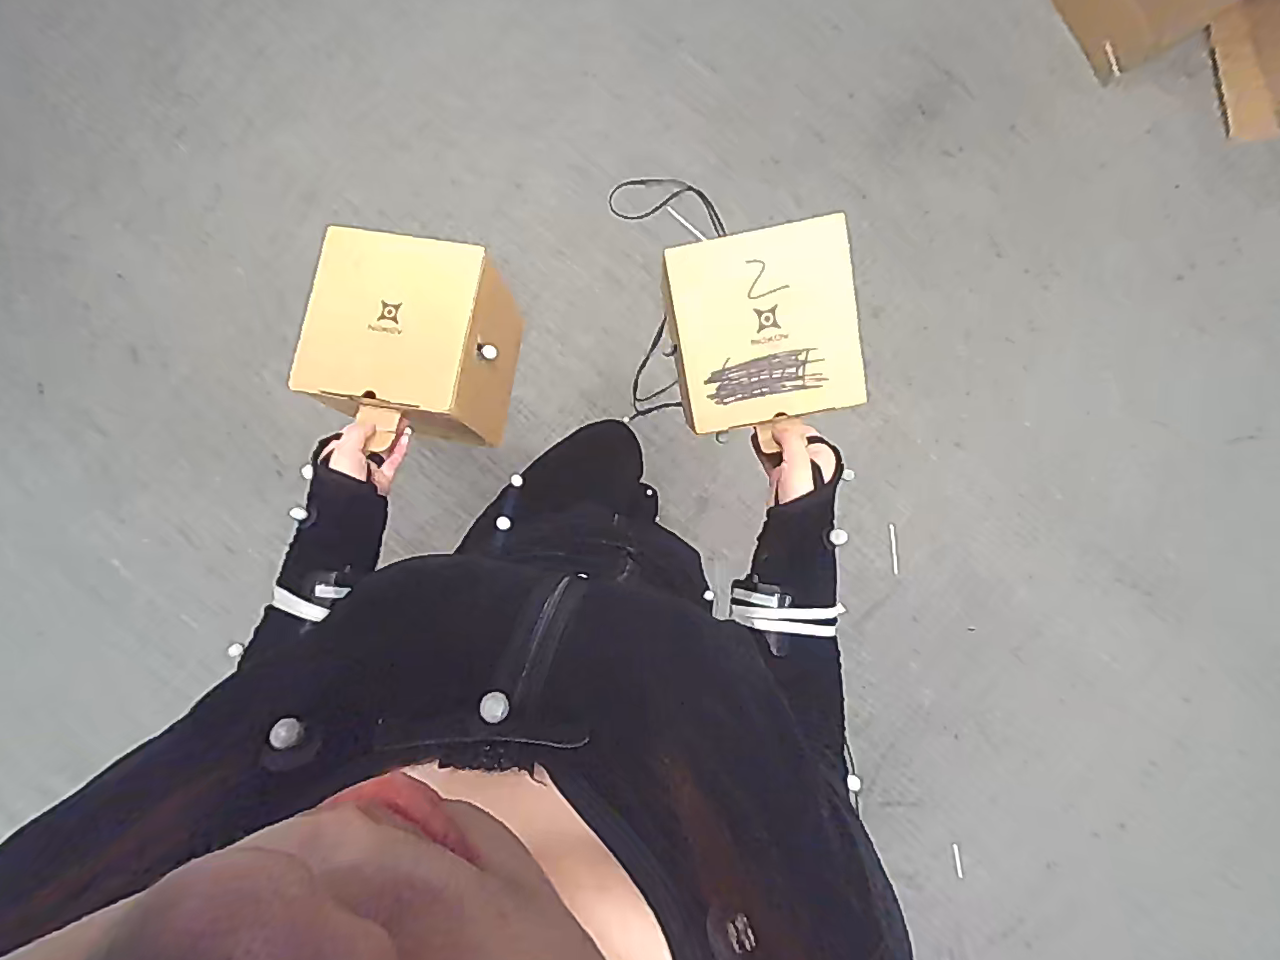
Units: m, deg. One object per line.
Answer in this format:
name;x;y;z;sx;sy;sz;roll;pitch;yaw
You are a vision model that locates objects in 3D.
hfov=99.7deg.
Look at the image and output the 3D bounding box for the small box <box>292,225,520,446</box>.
small box;-0.244;-0.150;0.613;0.168;0.176;0.179;9;83;2
